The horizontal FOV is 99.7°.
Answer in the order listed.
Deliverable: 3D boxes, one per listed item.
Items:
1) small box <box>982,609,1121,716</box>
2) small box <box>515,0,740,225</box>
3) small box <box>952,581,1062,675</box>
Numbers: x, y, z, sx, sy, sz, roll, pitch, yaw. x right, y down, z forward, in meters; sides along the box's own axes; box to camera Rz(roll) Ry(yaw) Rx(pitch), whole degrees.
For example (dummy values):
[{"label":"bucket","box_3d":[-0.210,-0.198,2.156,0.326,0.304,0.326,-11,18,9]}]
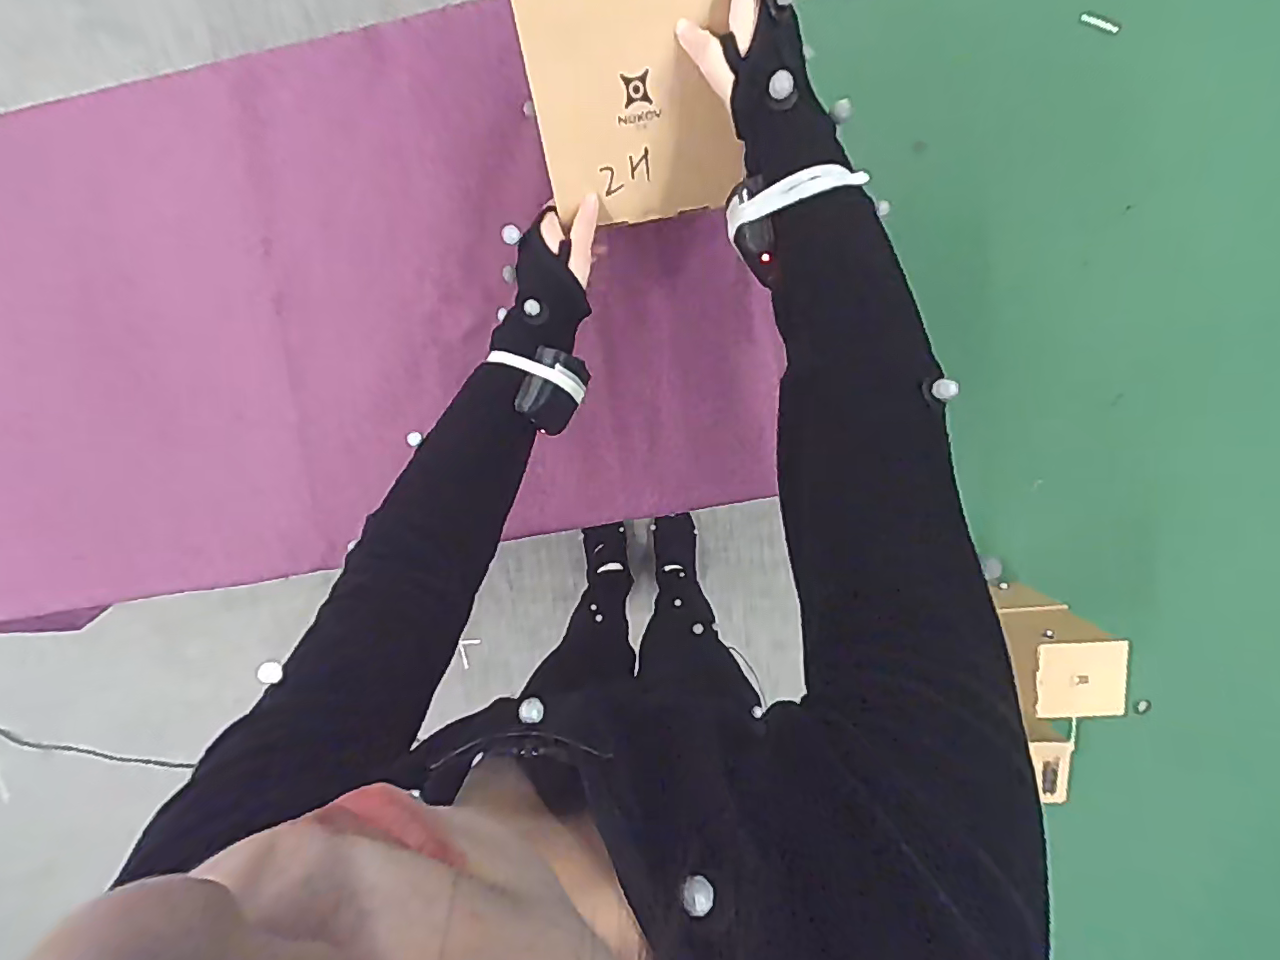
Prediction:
[{"label":"small box","box_3d":[0.892,0.393,1.186,0.179,0.176,0.168,-4,99,4]},{"label":"small box","box_3d":[-0.005,-0.353,0.499,0.168,0.176,0.179,-7,124,5]},{"label":"small box","box_3d":[0.903,0.364,1.347,0.168,0.176,0.179,-4,99,3]}]
